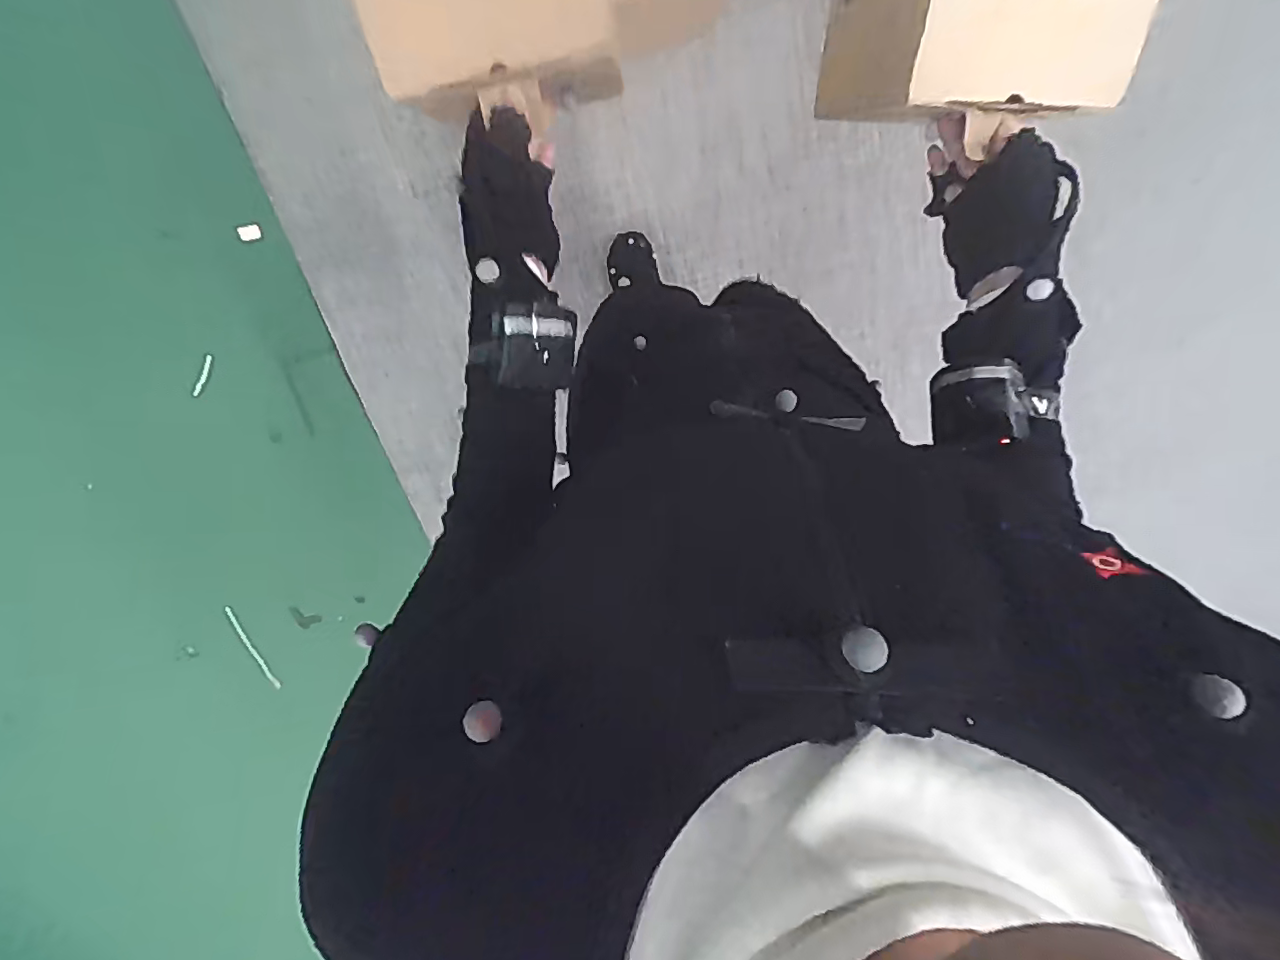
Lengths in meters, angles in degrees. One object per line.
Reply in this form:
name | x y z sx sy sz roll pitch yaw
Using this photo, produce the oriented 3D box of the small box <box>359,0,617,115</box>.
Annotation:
small box | -0.114 -0.400 0.415 0.168 0.176 0.179 -9 116 5
